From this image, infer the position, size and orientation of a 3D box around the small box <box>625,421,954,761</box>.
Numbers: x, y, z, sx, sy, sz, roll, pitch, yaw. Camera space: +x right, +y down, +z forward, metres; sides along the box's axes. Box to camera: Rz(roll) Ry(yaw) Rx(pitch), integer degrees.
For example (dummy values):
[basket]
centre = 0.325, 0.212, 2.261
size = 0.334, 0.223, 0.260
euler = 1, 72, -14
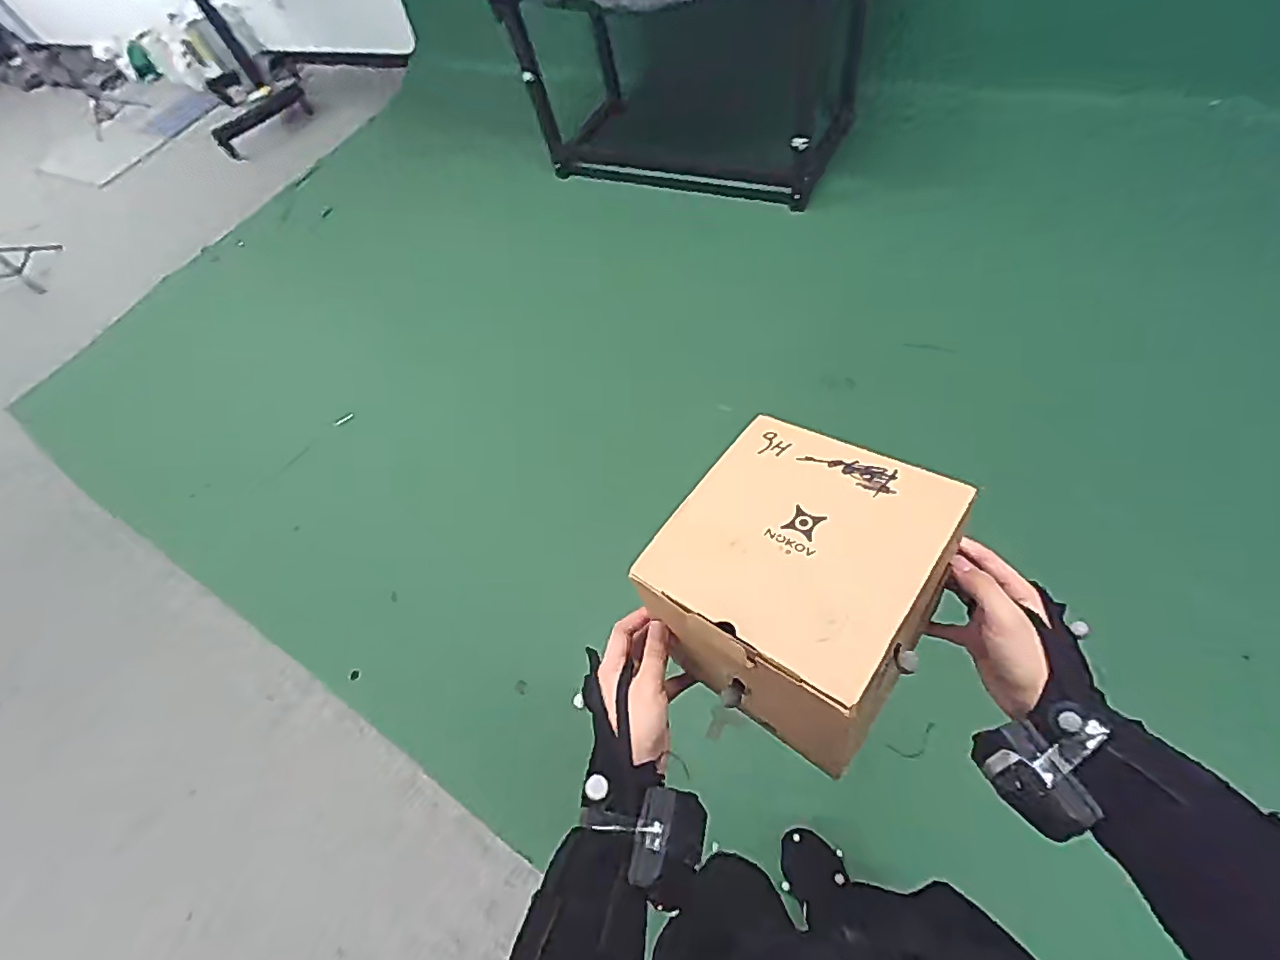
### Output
[small box]
centre = 0.121, 0.089, 0.434
size = 0.168, 0.176, 0.179
euler = 26, 63, 34
